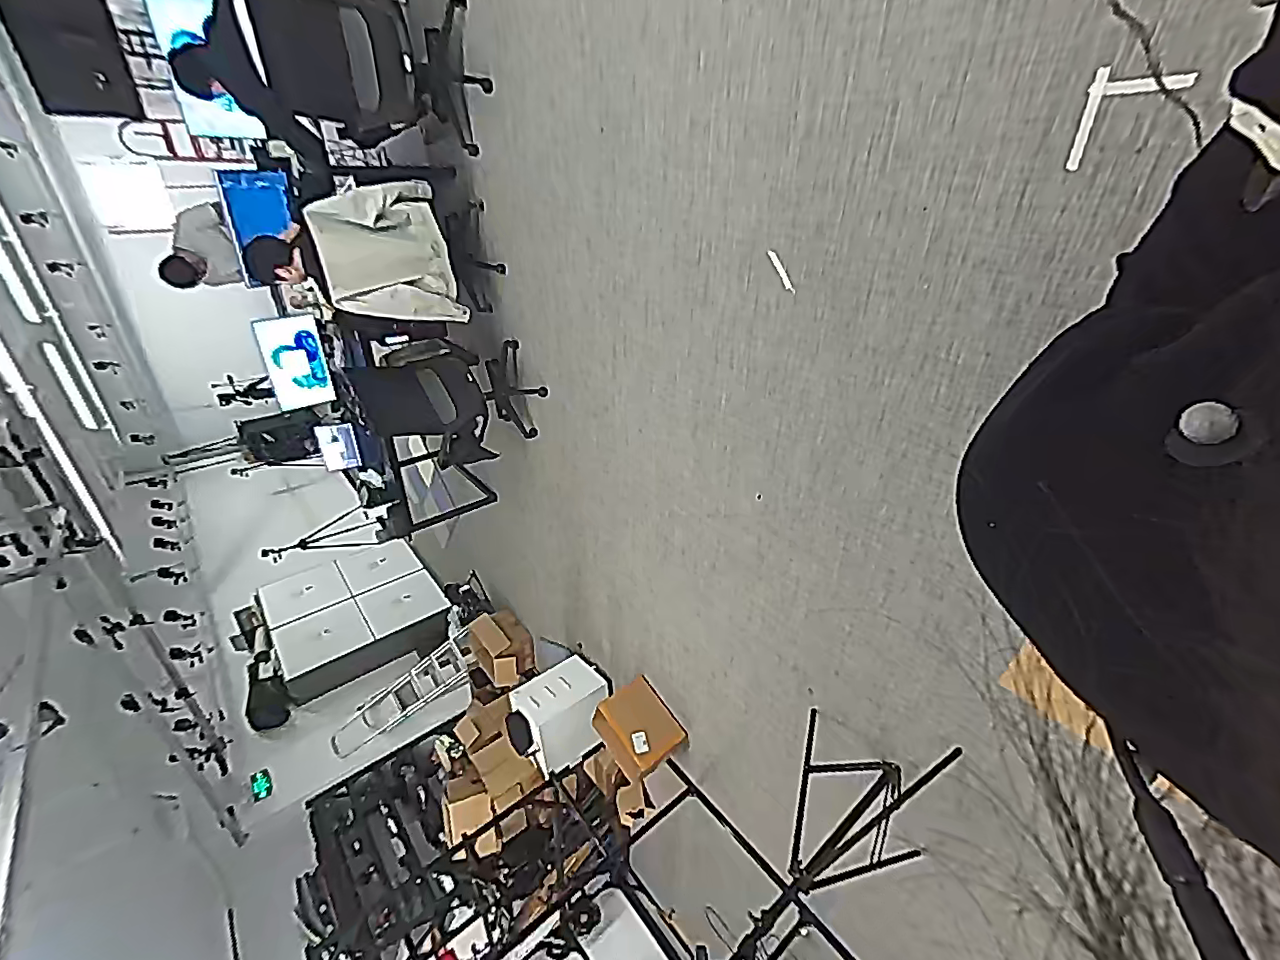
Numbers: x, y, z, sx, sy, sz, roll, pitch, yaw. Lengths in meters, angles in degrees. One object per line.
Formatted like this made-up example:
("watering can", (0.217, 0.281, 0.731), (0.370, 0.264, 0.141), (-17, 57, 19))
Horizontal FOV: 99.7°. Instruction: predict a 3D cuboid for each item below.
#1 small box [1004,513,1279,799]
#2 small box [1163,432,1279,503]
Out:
("small box", (0.517, 0.160, 0.543), (0.168, 0.176, 0.179), (35, 137, 40))
("small box", (0.768, 0.056, 0.720), (0.168, 0.176, 0.179), (37, 135, 38))
